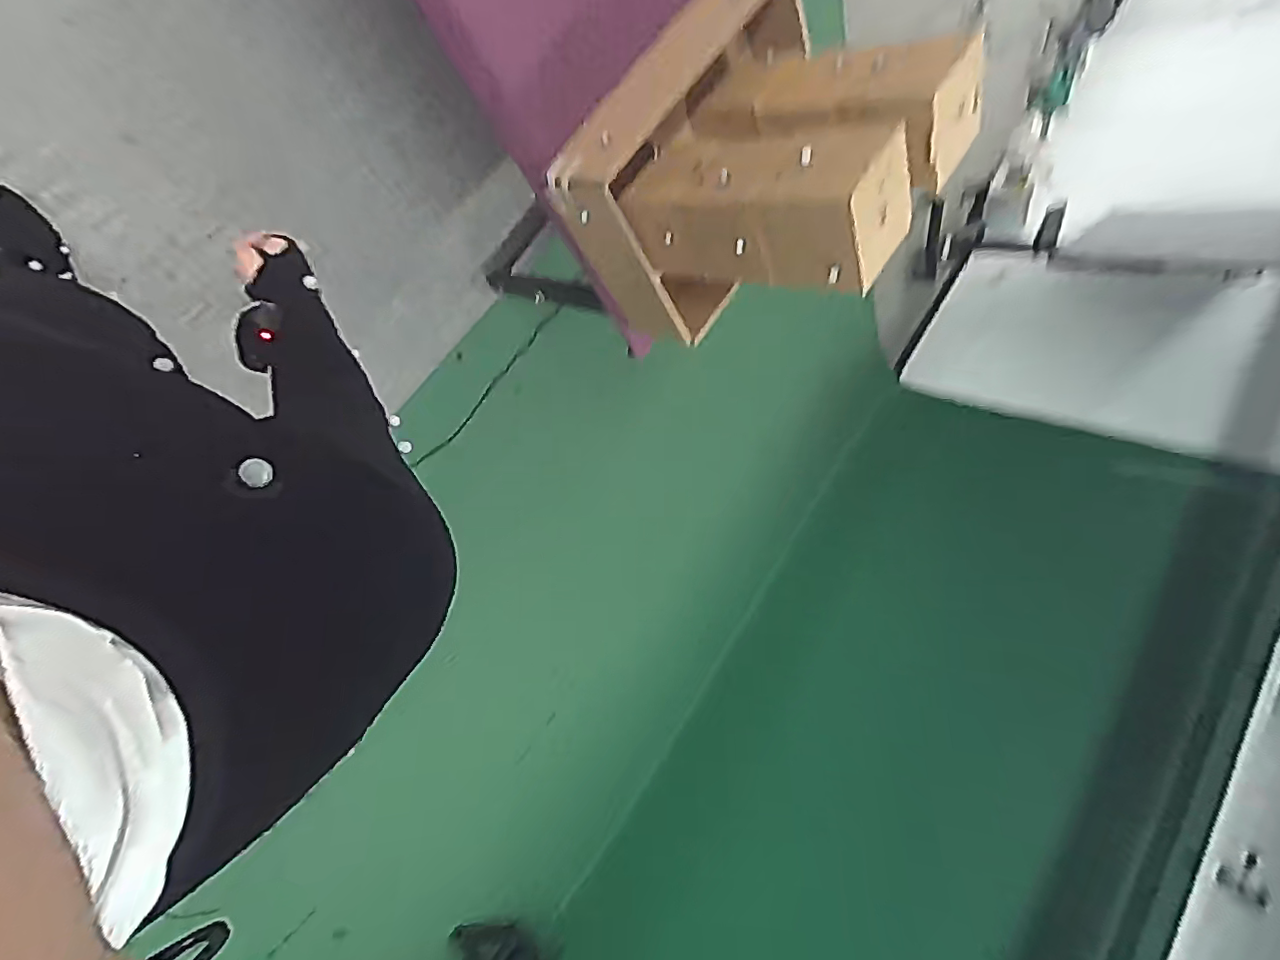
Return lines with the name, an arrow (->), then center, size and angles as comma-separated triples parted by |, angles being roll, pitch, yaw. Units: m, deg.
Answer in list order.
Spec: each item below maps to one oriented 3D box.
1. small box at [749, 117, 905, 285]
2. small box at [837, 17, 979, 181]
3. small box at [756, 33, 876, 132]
small box -> 0.305, -0.448, 0.876 | 0.168, 0.176, 0.179 | -54, 139, -13
small box -> 0.460, -0.651, 0.943 | 0.179, 0.176, 0.168 | -53, 140, -12
small box -> 0.343, -0.708, 1.044 | 0.179, 0.176, 0.168 | -54, 140, -13
